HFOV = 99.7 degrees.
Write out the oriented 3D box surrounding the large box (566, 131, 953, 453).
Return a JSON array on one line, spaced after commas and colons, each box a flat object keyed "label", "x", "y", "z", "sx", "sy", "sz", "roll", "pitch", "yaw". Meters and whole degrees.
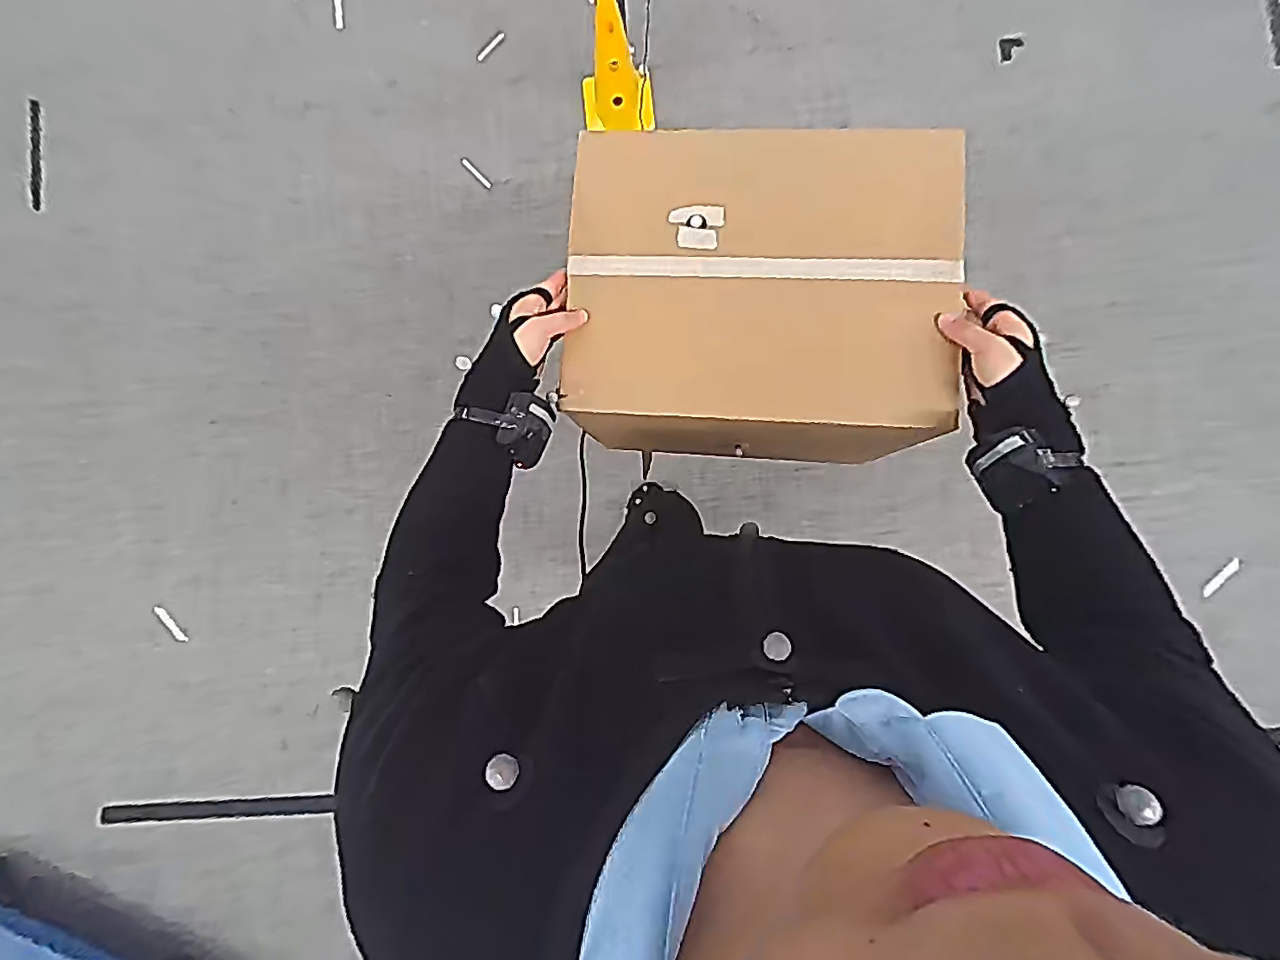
[{"label": "large box", "x": 0.141, "y": -0.209, "z": 0.723, "sx": 0.408, "sy": 0.320, "sz": 0.320, "roll": 3, "pitch": 85, "yaw": 6}]
